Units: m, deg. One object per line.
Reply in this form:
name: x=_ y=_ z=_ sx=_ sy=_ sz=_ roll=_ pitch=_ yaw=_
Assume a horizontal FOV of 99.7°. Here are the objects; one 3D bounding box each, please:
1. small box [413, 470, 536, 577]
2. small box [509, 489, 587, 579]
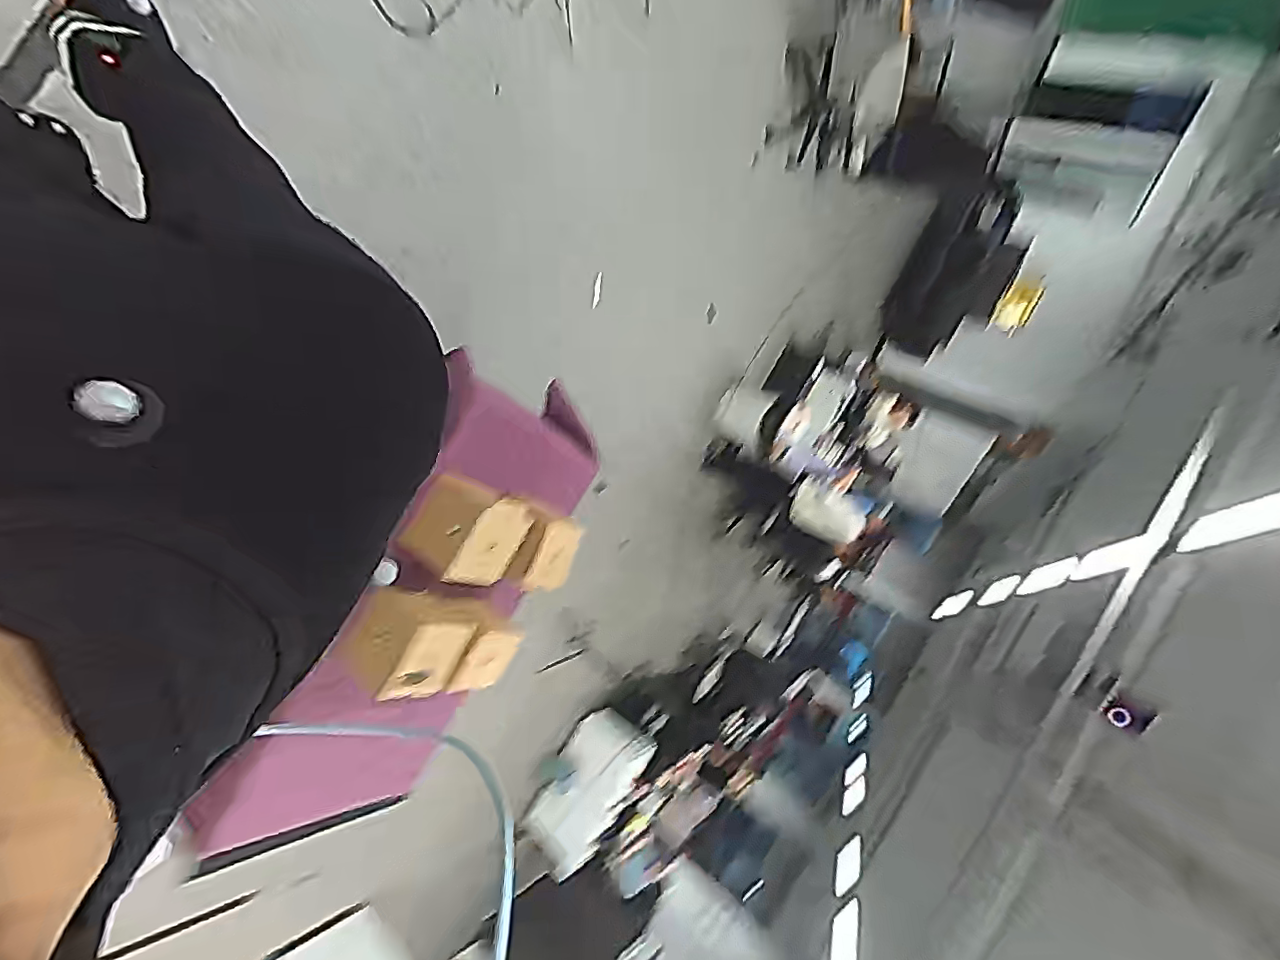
small box: x=-0.377 y=0.099 z=1.226 sx=0.179 sy=0.176 sz=0.168 roll=-61 pitch=153 yaw=-1
small box: x=-0.278 y=0.143 z=1.442 sx=0.179 sy=0.176 sz=0.168 roll=-61 pitch=153 yaw=1
